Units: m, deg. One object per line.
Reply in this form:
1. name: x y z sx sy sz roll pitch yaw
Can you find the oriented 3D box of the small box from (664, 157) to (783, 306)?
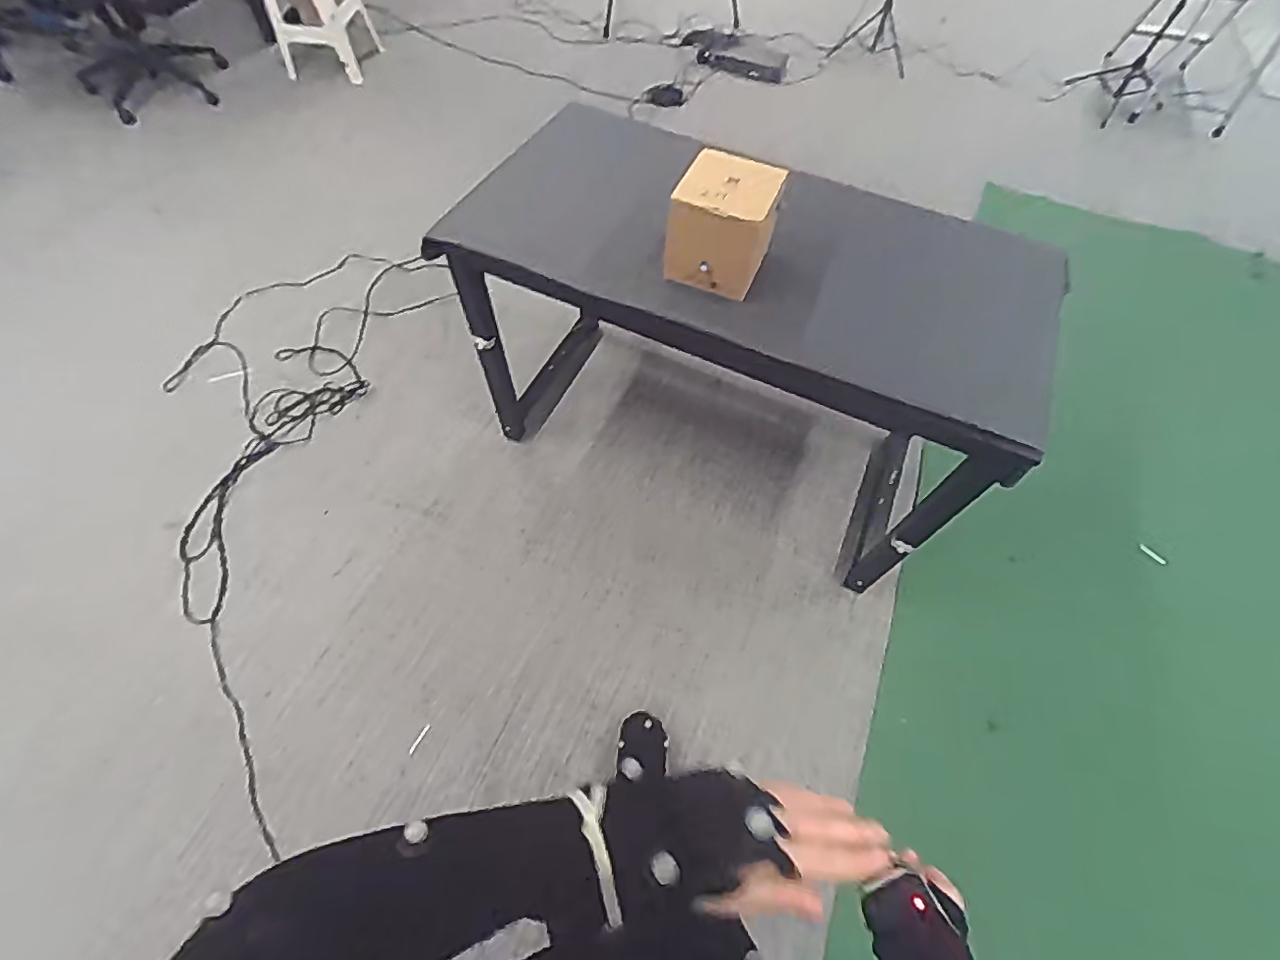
1. small box: 0.150 -0.466 1.021 0.168 0.176 0.179 21 60 10
